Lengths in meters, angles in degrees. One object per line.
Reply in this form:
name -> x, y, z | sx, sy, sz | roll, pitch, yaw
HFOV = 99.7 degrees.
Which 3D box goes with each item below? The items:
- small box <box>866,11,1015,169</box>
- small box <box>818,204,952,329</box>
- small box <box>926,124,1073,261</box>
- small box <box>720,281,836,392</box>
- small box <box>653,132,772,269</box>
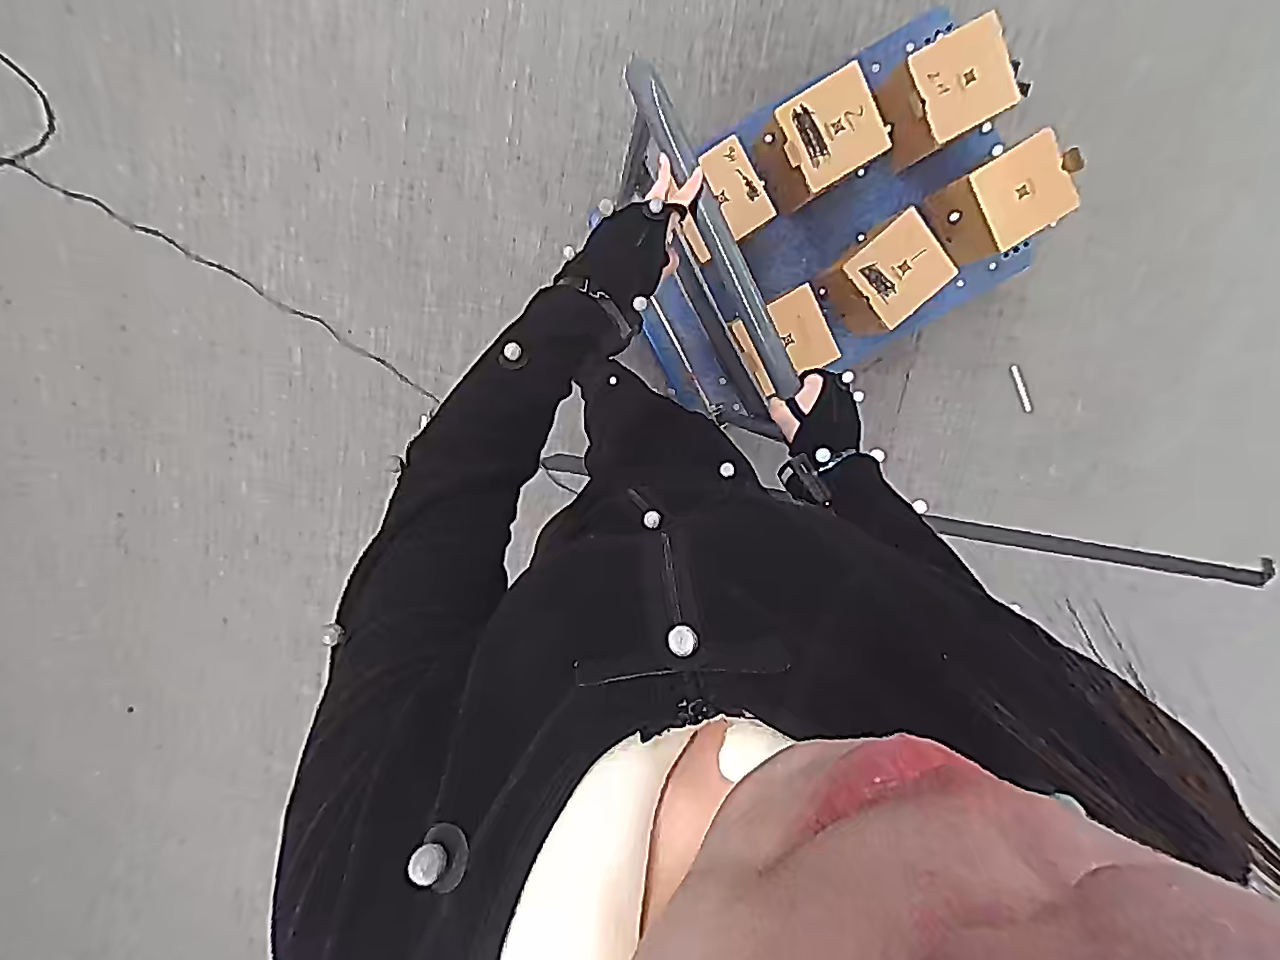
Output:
small box -> 0.590, -0.765, 1.082 | 0.179, 0.176, 0.168 | -27, 102, 4
small box -> 0.504, -0.440, 1.151 | 0.179, 0.176, 0.168 | -41, 101, 5
small box -> 0.734, -0.585, 1.131 | 0.179, 0.176, 0.168 | -32, 102, 4
small box -> 0.286, -0.305, 1.171 | 0.179, 0.176, 0.168 | -28, 103, 3
small box -> 0.137, -0.556, 1.105 | 0.179, 0.176, 0.168 | -32, 103, 5
